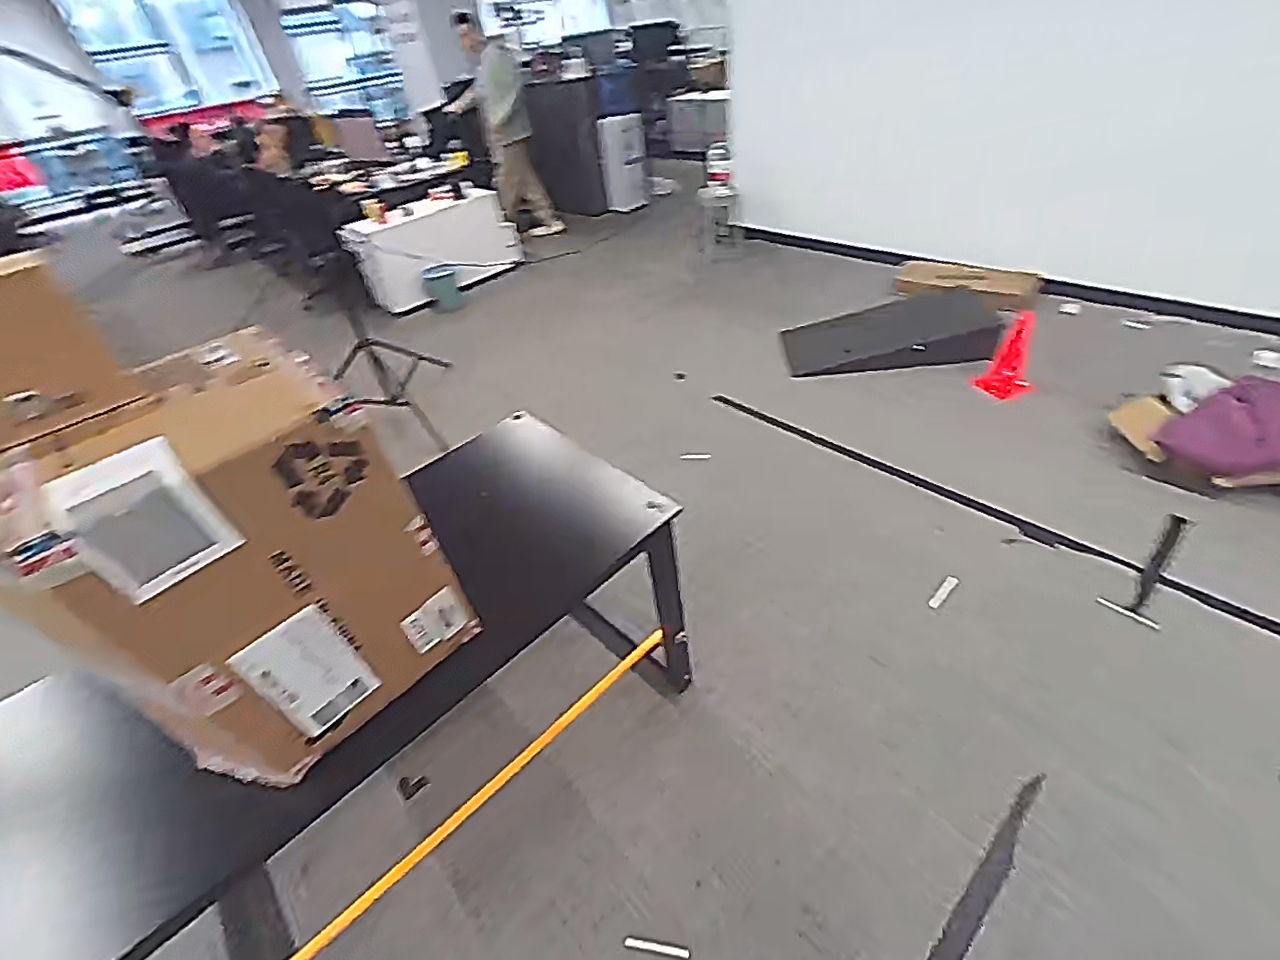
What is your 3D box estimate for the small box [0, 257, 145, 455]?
[{"bbox_3d":[-0.753,-0.151,0.647,0.179,0.176,0.168,24,50,35],"label":"small box"}]
